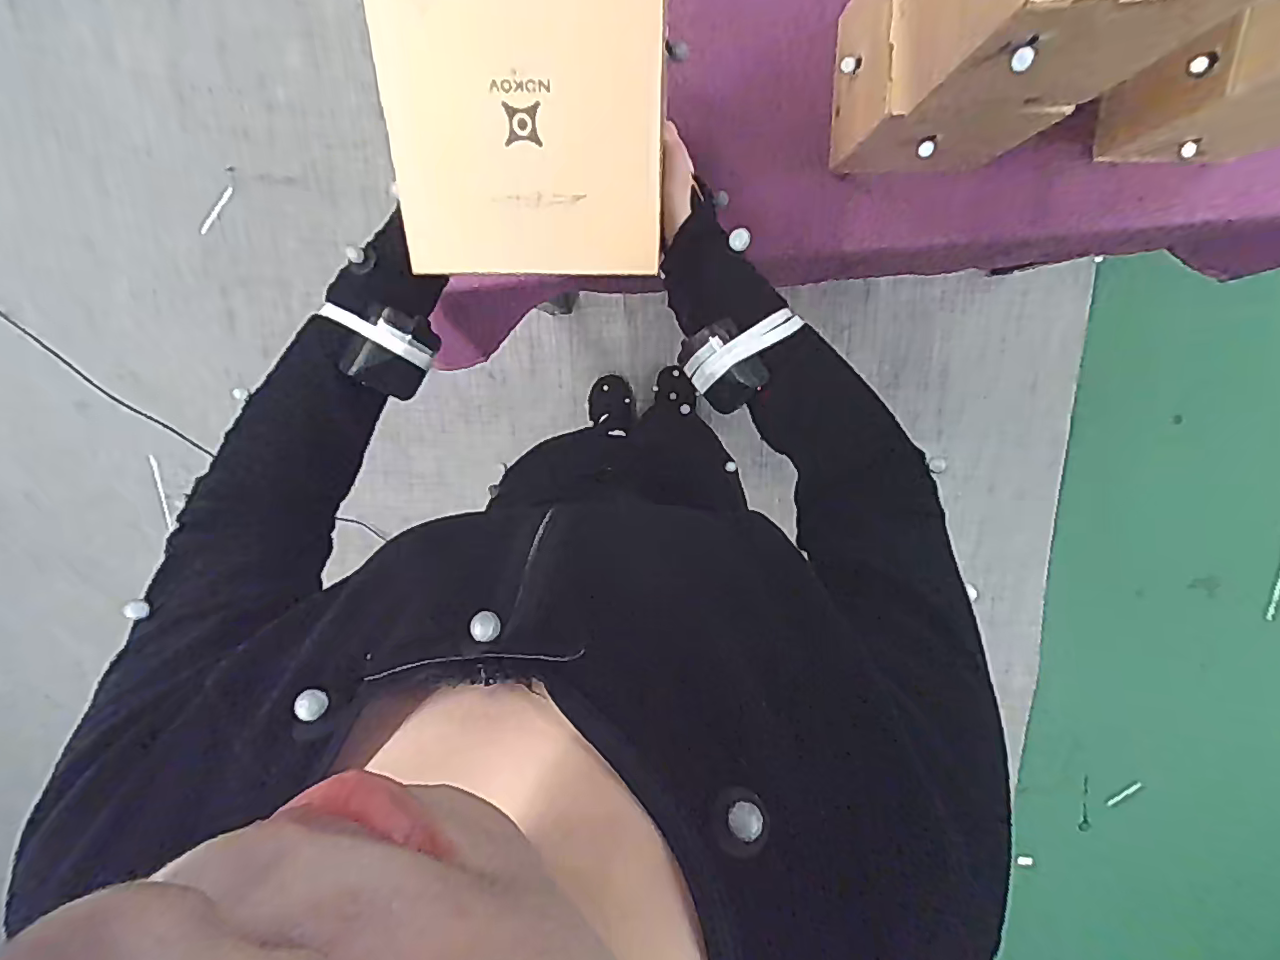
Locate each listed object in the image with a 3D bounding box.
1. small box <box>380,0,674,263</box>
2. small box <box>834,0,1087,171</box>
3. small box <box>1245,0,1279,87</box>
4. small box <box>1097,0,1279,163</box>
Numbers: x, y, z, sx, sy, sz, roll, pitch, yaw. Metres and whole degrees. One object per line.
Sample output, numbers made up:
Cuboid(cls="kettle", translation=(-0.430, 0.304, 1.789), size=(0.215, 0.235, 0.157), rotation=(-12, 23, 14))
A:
Cuboid(cls="small box", translation=(-0.062, -0.260, 0.392), size=(0.168, 0.176, 0.179), rotation=(2, 118, 2))
Cuboid(cls="small box", translation=(0.318, -0.440, 0.568), size=(0.179, 0.176, 0.168), rotation=(0, 103, 2))
Cuboid(cls="small box", translation=(0.627, -0.418, 0.399), size=(0.168, 0.176, 0.179), rotation=(0, 103, 1))
Cuboid(cls="small box", translation=(0.629, -0.456, 0.560), size=(0.168, 0.176, 0.179), rotation=(1, 103, 1))
